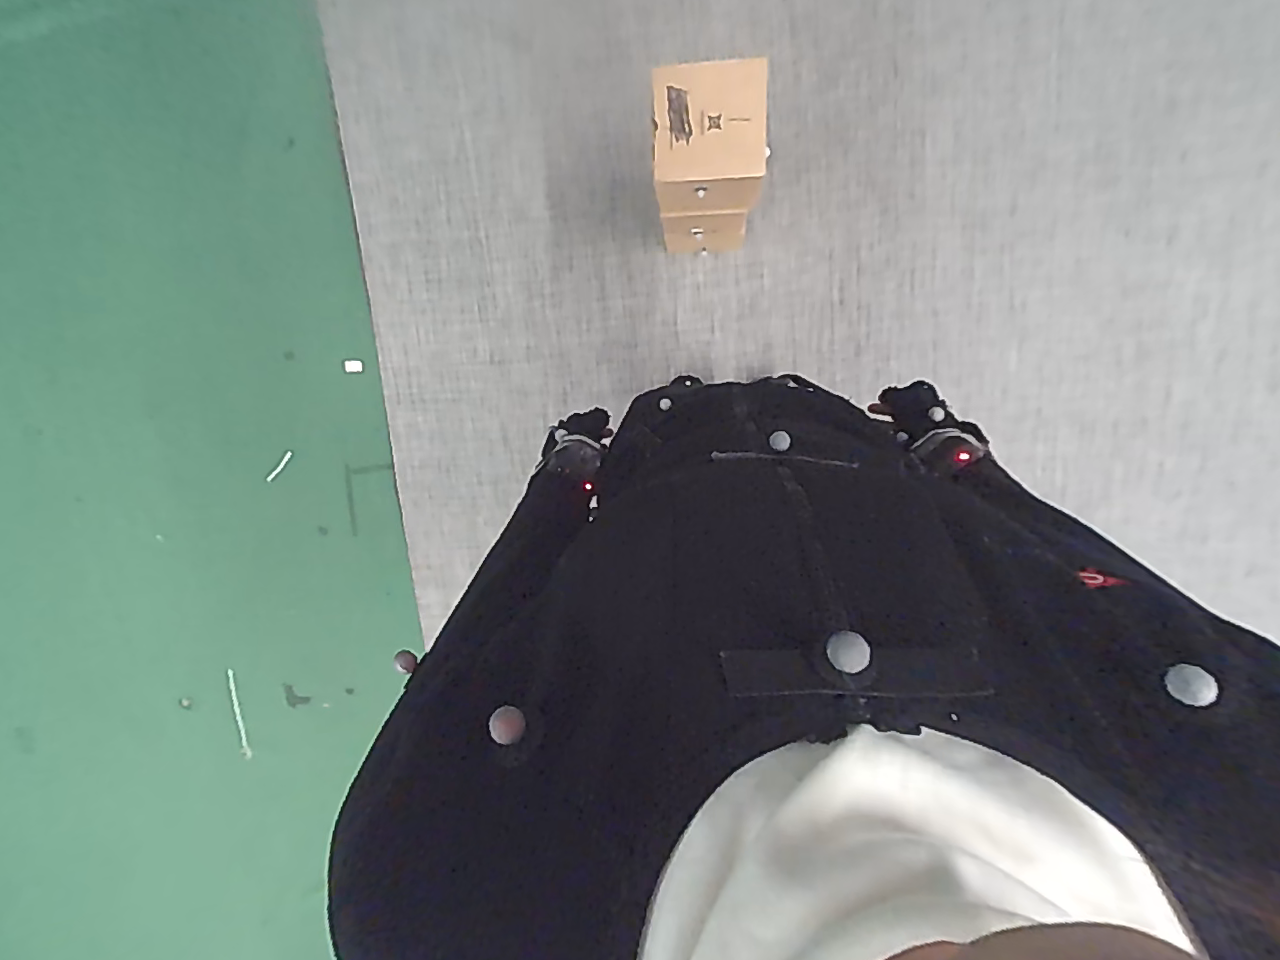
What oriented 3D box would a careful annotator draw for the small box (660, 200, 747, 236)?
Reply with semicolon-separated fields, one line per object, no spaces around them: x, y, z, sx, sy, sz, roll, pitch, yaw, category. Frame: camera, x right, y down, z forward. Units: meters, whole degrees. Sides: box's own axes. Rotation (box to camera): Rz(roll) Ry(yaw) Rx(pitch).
0.126;-0.600;1.073;0.168;0.176;0.179;0;102;8;small box

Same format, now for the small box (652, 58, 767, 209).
0.115;-0.569;0.912;0.179;0.176;0.168;1;101;6;small box

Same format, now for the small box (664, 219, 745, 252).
0.145;-0.626;1.233;0.179;0.176;0.168;1;101;6;small box
